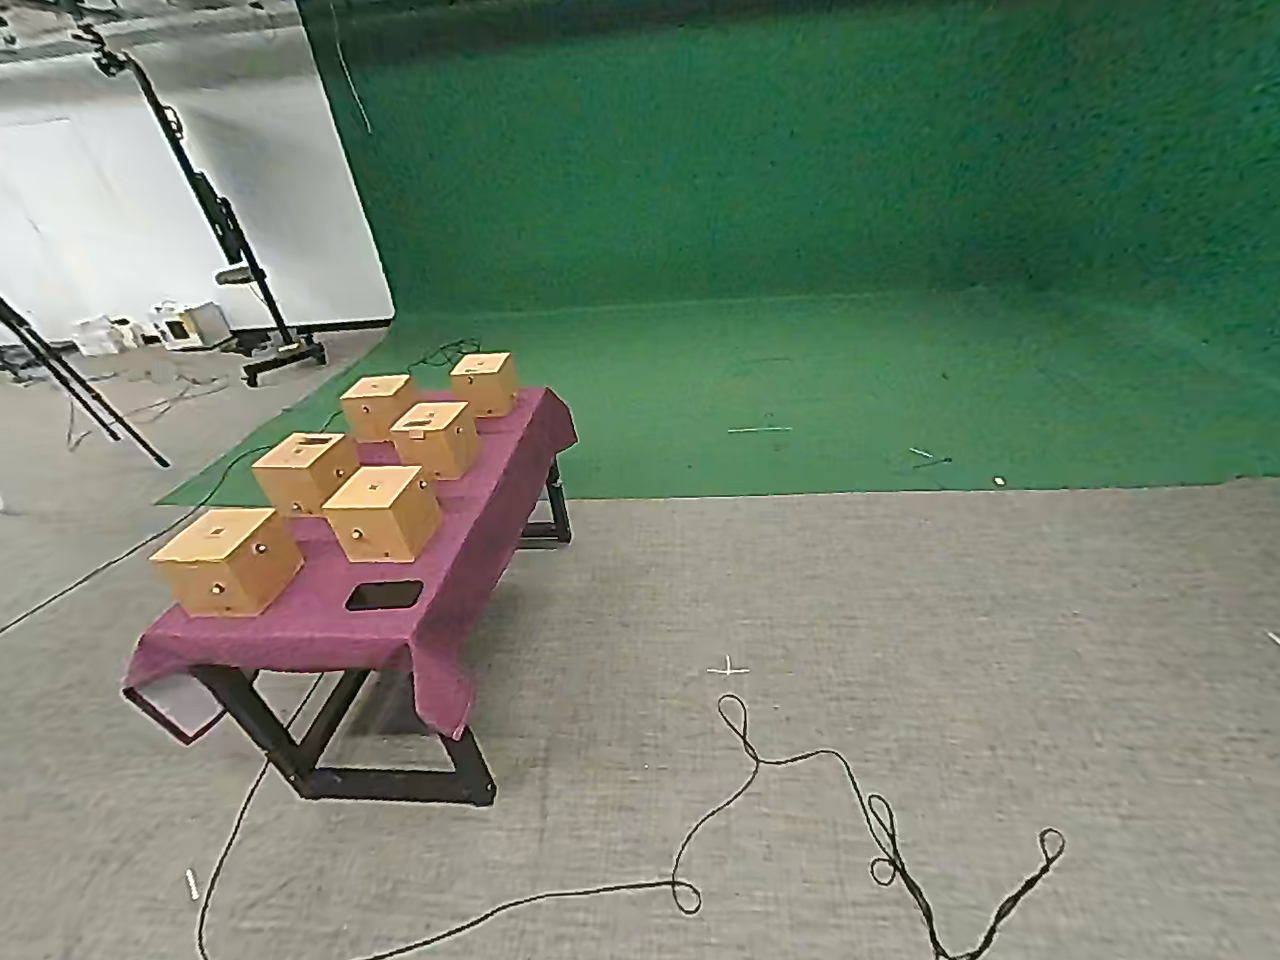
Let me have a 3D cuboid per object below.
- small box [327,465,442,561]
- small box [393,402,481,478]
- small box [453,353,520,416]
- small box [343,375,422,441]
[{"bbox_3d":[-0.605,0.082,1.310,0.168,0.176,0.179,-1,33,8],"label":"small box"},{"bbox_3d":[-0.590,-0.117,1.601,0.168,0.176,0.179,0,33,9],"label":"small box"},{"bbox_3d":[-0.536,-0.338,1.919,0.168,0.176,0.179,-2,34,6],"label":"small box"},{"bbox_3d":[-0.853,-0.240,1.823,0.179,0.176,0.168,-3,35,5],"label":"small box"}]
